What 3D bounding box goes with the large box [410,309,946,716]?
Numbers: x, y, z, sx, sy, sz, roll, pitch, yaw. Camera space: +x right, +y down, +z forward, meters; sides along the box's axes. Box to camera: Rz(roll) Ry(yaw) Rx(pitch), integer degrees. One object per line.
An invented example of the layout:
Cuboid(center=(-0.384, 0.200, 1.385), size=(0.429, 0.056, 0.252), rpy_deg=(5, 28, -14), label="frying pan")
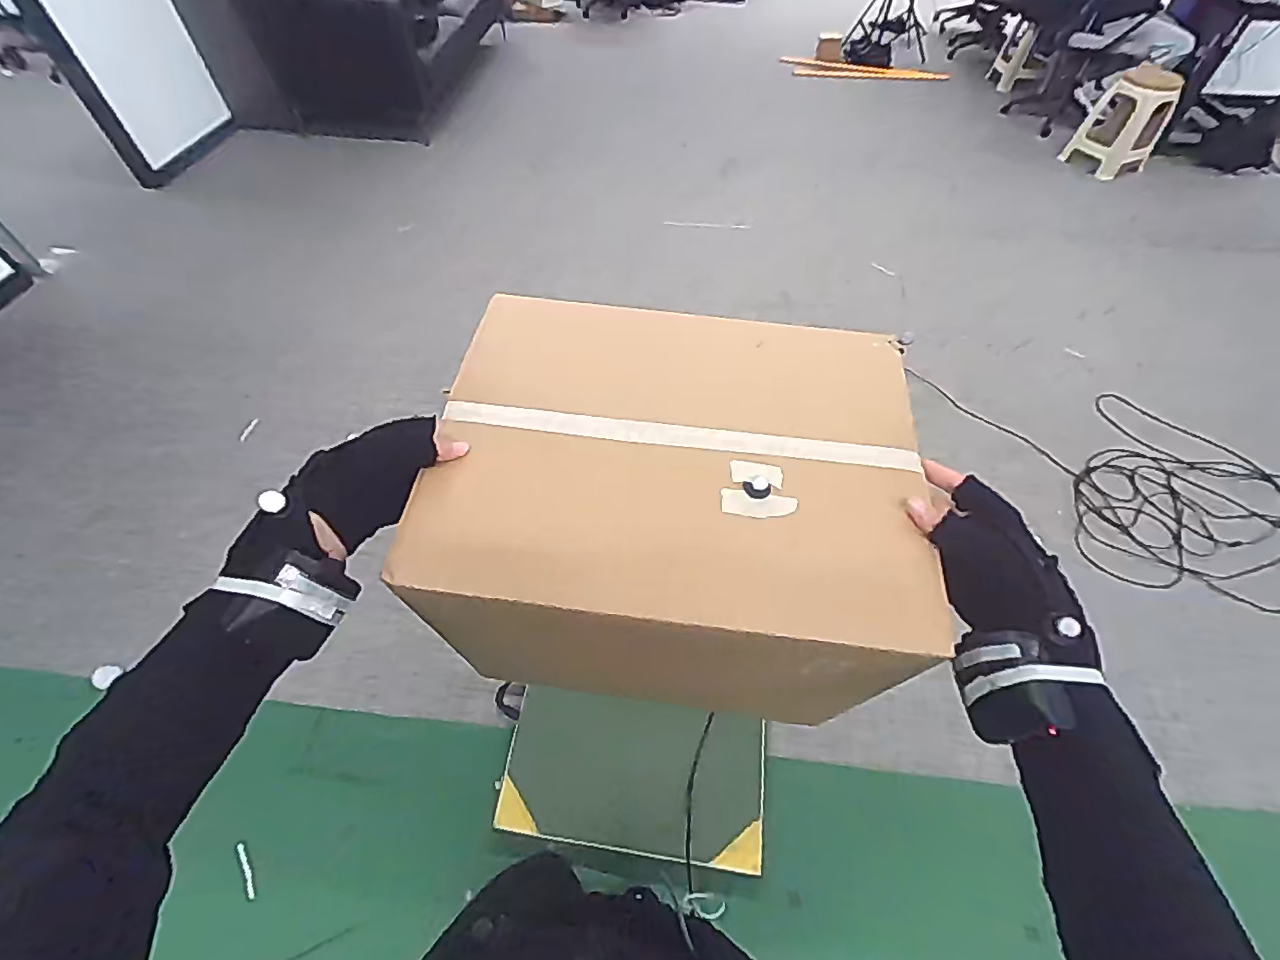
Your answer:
Cuboid(center=(0.033, 0.050, 0.597), size=(0.408, 0.320, 0.320), rpy_deg=(7, 58, 2), label="large box")
